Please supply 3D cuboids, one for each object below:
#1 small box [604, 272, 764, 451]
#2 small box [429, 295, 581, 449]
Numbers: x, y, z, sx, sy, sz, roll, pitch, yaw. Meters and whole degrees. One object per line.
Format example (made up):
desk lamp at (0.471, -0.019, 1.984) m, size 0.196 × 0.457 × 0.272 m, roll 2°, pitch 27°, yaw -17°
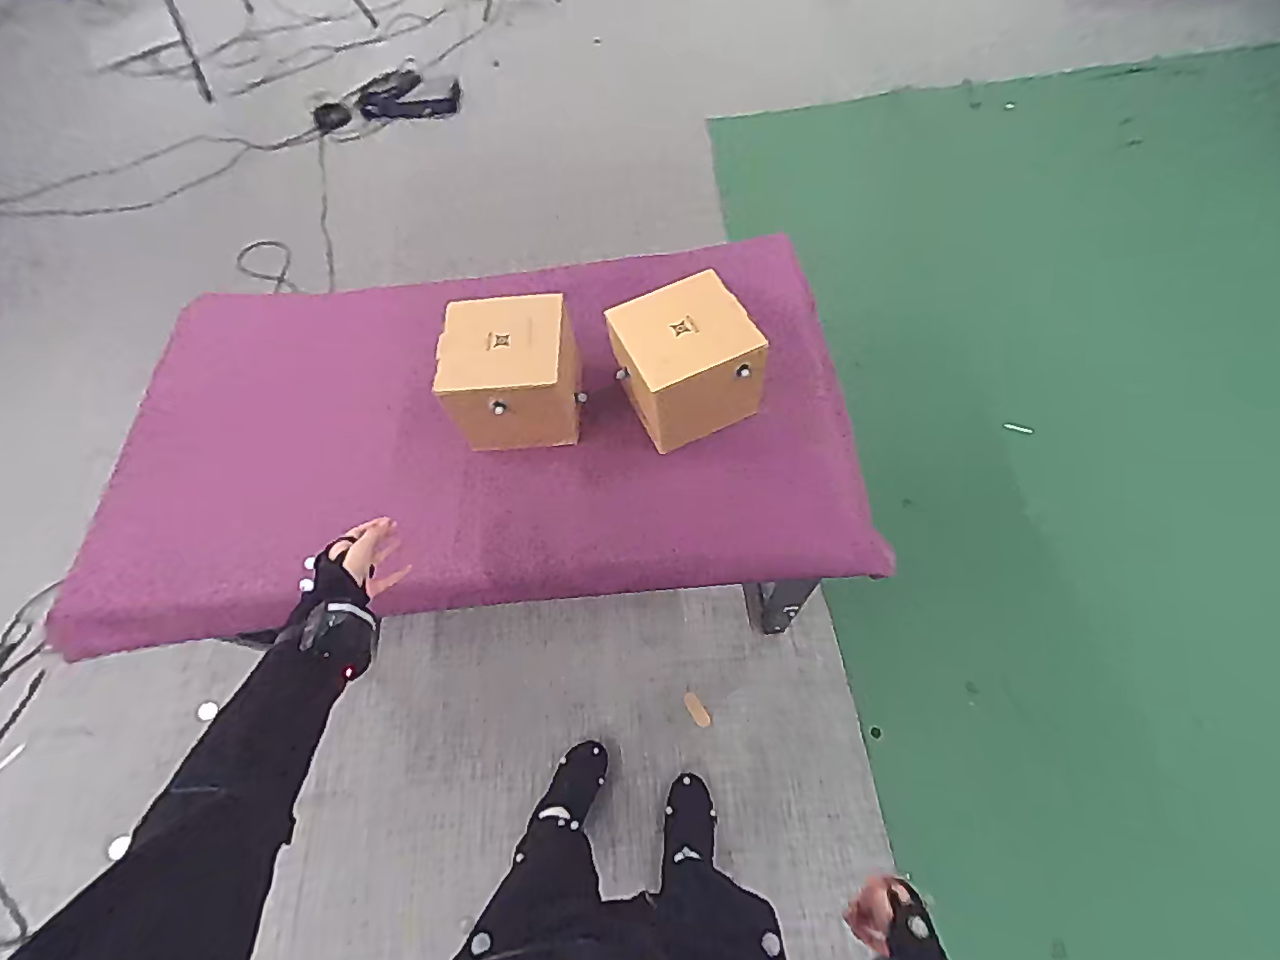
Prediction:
small box at (0.065, -0.170, 0.816) m, size 0.179 × 0.176 × 0.168 m, roll -24°, pitch 63°, yaw -8°
small box at (-0.194, -0.158, 0.831) m, size 0.179 × 0.176 × 0.168 m, roll -2°, pitch 63°, yaw 3°
